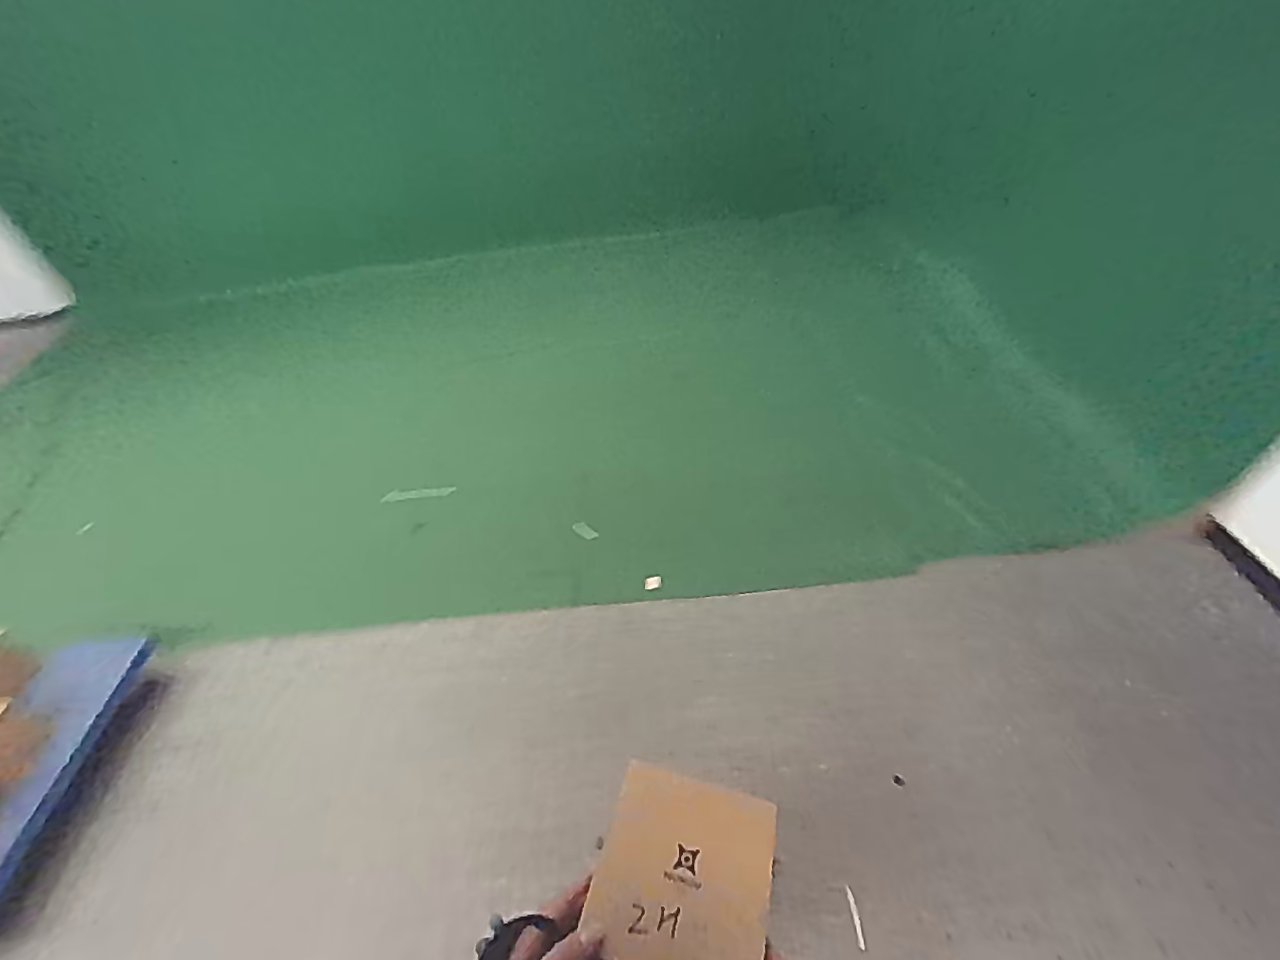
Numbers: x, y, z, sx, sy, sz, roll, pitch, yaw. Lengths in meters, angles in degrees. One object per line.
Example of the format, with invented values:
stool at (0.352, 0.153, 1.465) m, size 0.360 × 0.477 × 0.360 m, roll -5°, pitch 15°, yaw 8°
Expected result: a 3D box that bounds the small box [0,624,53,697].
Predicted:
small box at (-2.054, 0.575, 1.712) m, size 0.168 × 0.176 × 0.179 m, roll -3°, pitch 47°, yaw 6°
